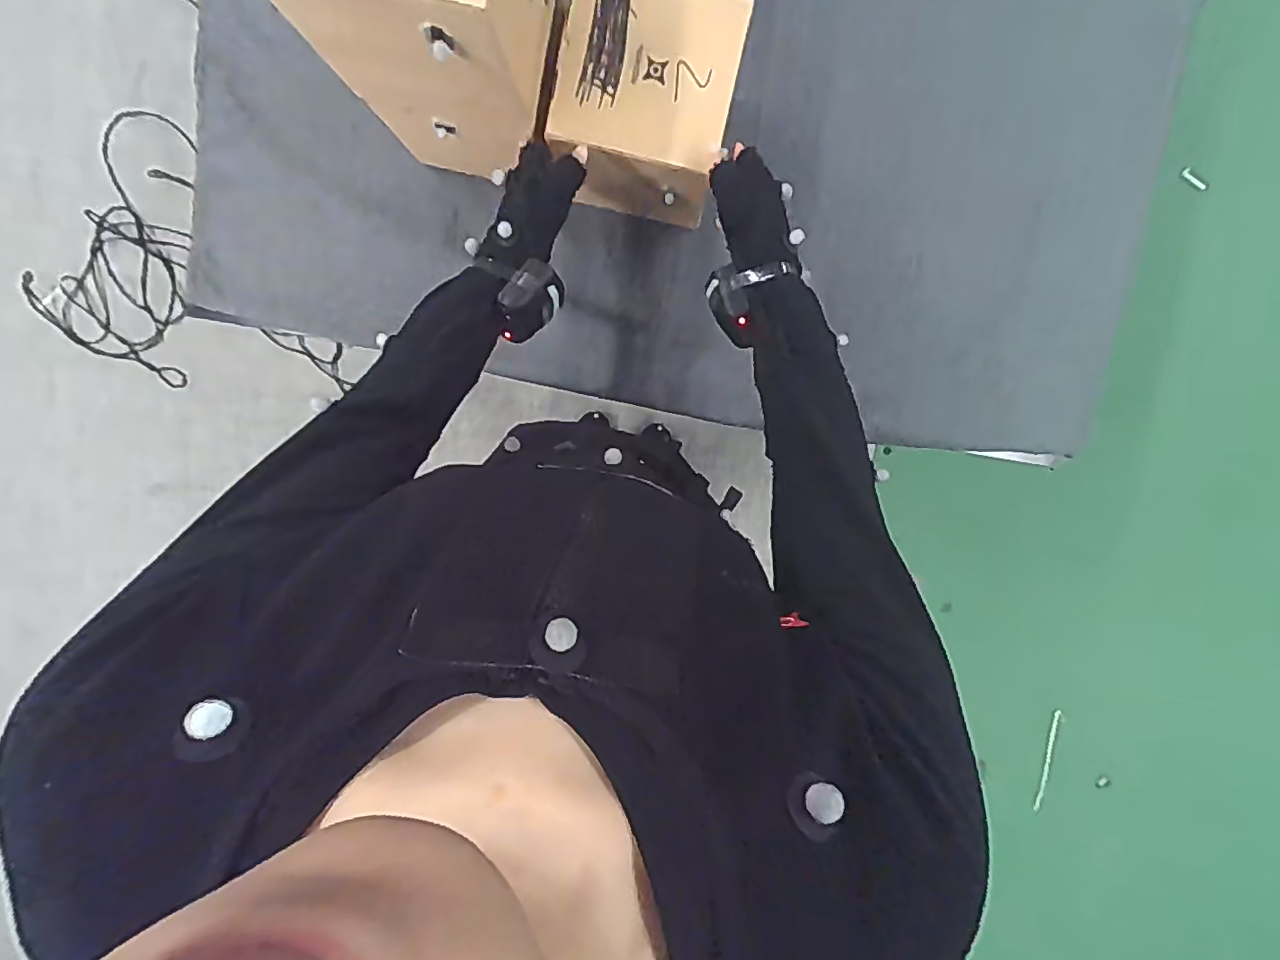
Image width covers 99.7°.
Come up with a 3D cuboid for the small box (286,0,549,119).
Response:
[{"bbox_3d":[-0.172,-0.433,0.441,0.179,0.176,0.168,10,97,-2],"label":"small box"}]
